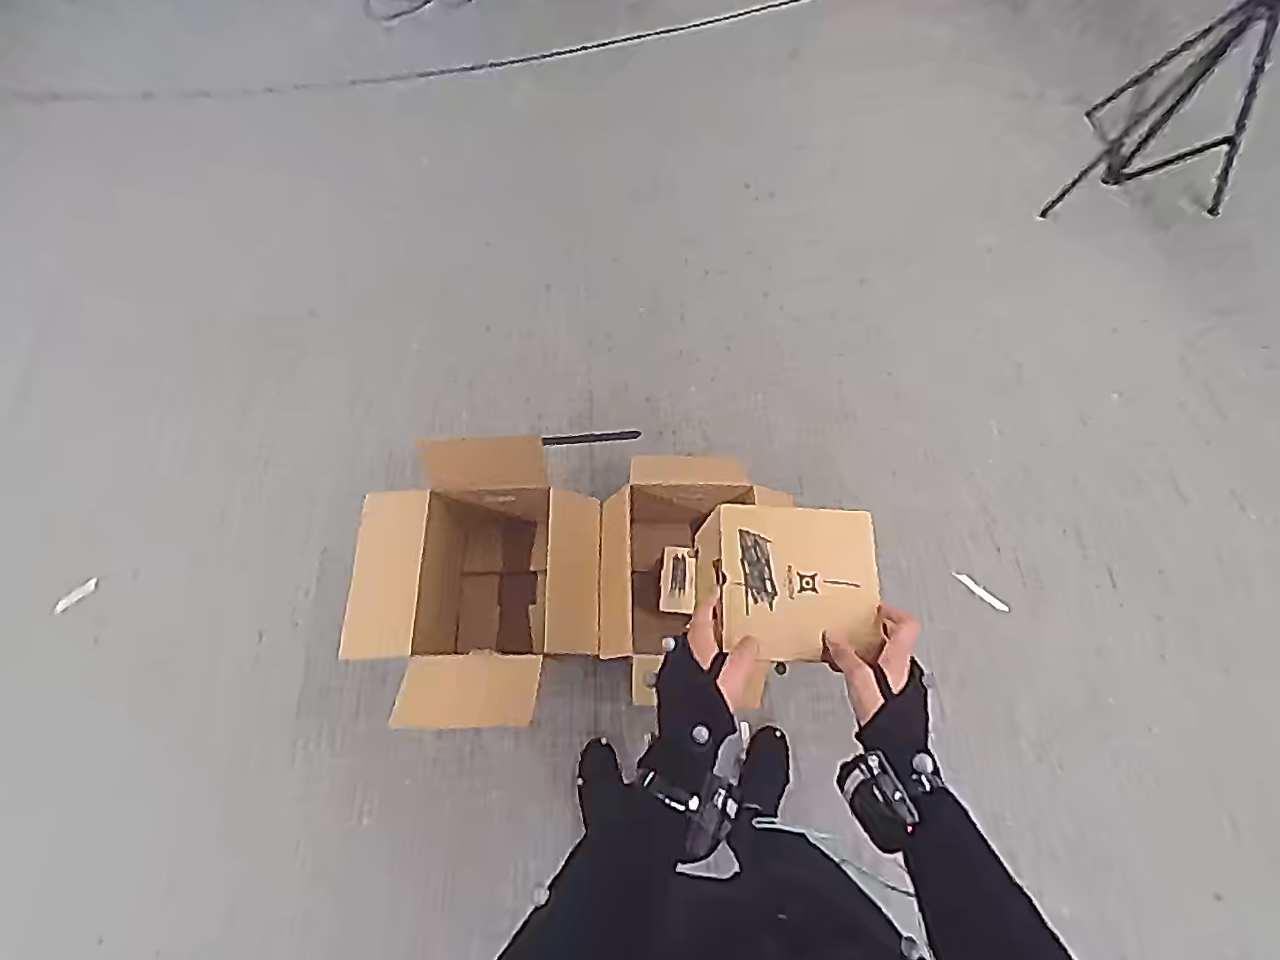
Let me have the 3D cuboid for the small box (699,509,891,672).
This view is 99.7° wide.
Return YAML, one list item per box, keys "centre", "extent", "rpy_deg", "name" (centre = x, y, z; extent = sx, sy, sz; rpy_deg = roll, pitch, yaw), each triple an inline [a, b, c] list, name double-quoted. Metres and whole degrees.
- centre: [0.167, 0.139, 0.645]
  extent: [0.179, 0.176, 0.168]
  rpy_deg: [3, 72, -4]
  name: "small box"
